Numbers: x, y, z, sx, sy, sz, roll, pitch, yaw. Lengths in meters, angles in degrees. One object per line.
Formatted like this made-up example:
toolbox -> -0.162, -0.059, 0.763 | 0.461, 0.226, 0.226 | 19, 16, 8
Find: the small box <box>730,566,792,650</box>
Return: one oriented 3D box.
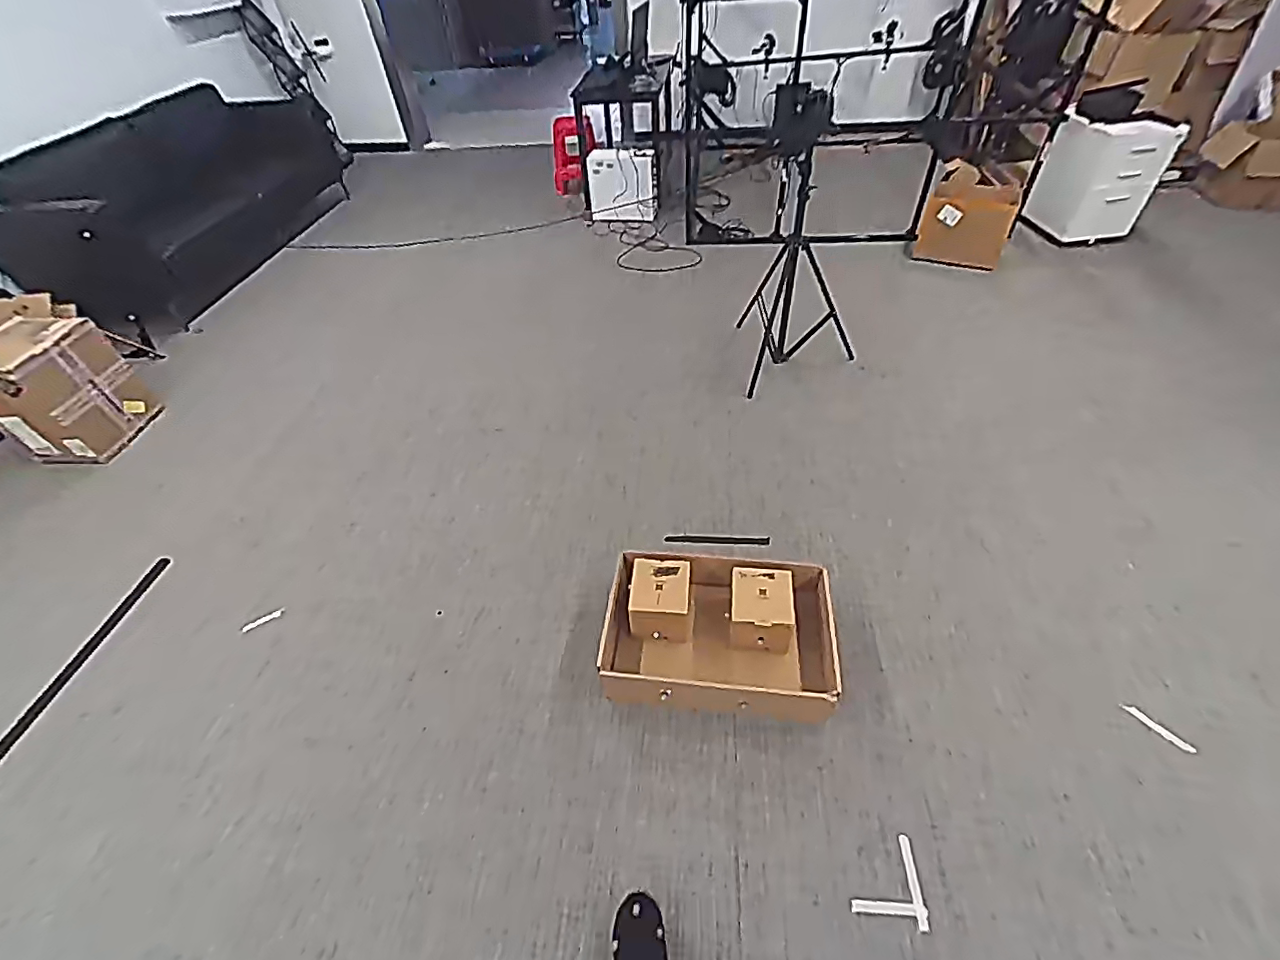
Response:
small box -> 0.345, 0.369, 1.547 | 0.168, 0.176, 0.179 | 2, 48, 11
